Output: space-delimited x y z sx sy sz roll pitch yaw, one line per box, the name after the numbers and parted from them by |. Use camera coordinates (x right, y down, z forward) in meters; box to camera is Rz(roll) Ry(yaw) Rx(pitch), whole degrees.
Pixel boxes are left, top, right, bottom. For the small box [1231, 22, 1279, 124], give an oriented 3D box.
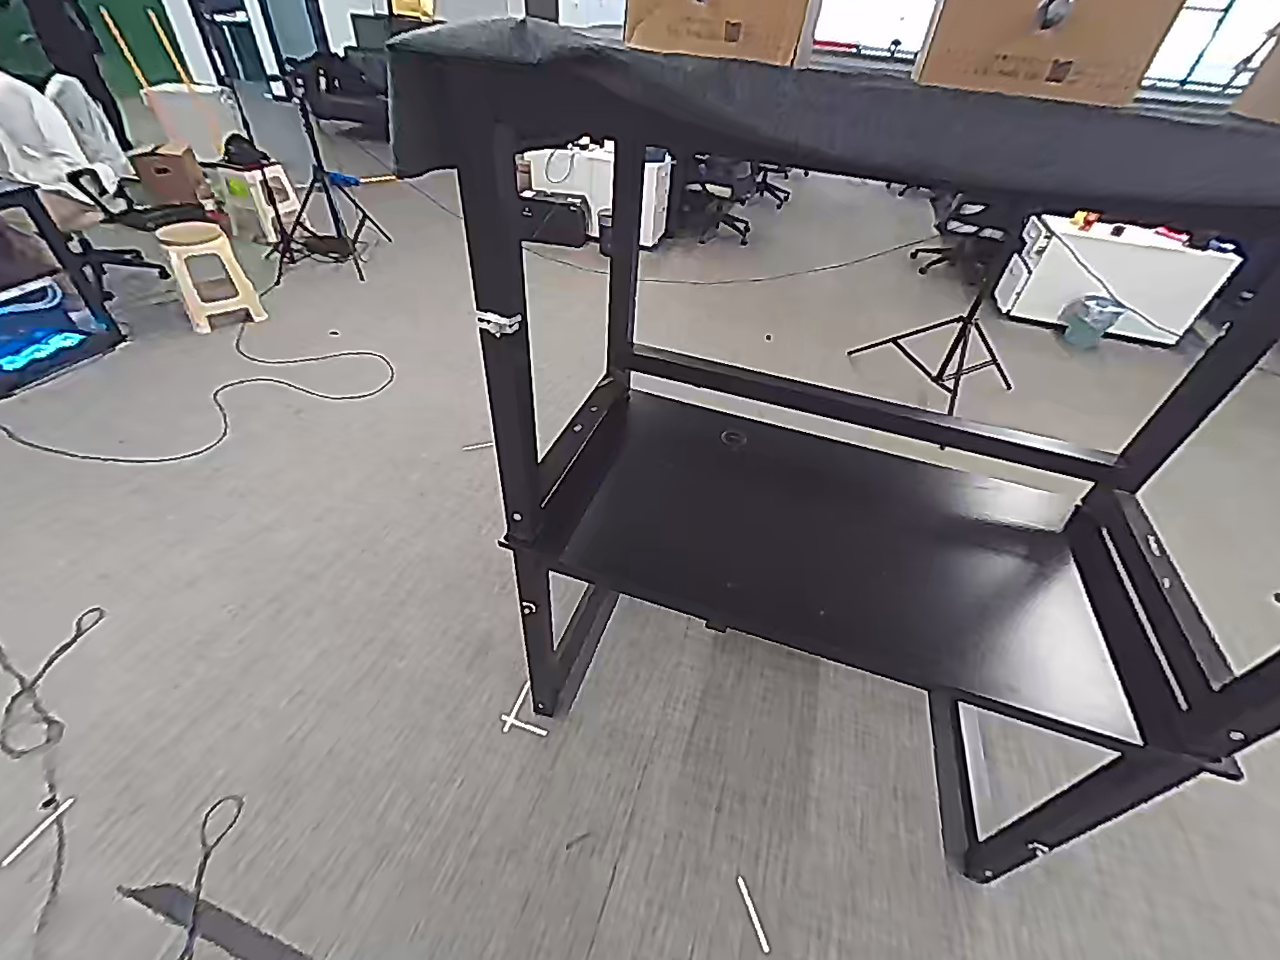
0.637 -0.365 0.413 0.168 0.176 0.179 18 41 14 | small box

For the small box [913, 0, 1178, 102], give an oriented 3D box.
0.353 -0.441 0.466 0.168 0.176 0.179 16 40 12 | small box

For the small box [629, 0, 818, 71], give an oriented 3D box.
0.094 -0.510 0.517 0.168 0.176 0.179 16 41 9 | small box
